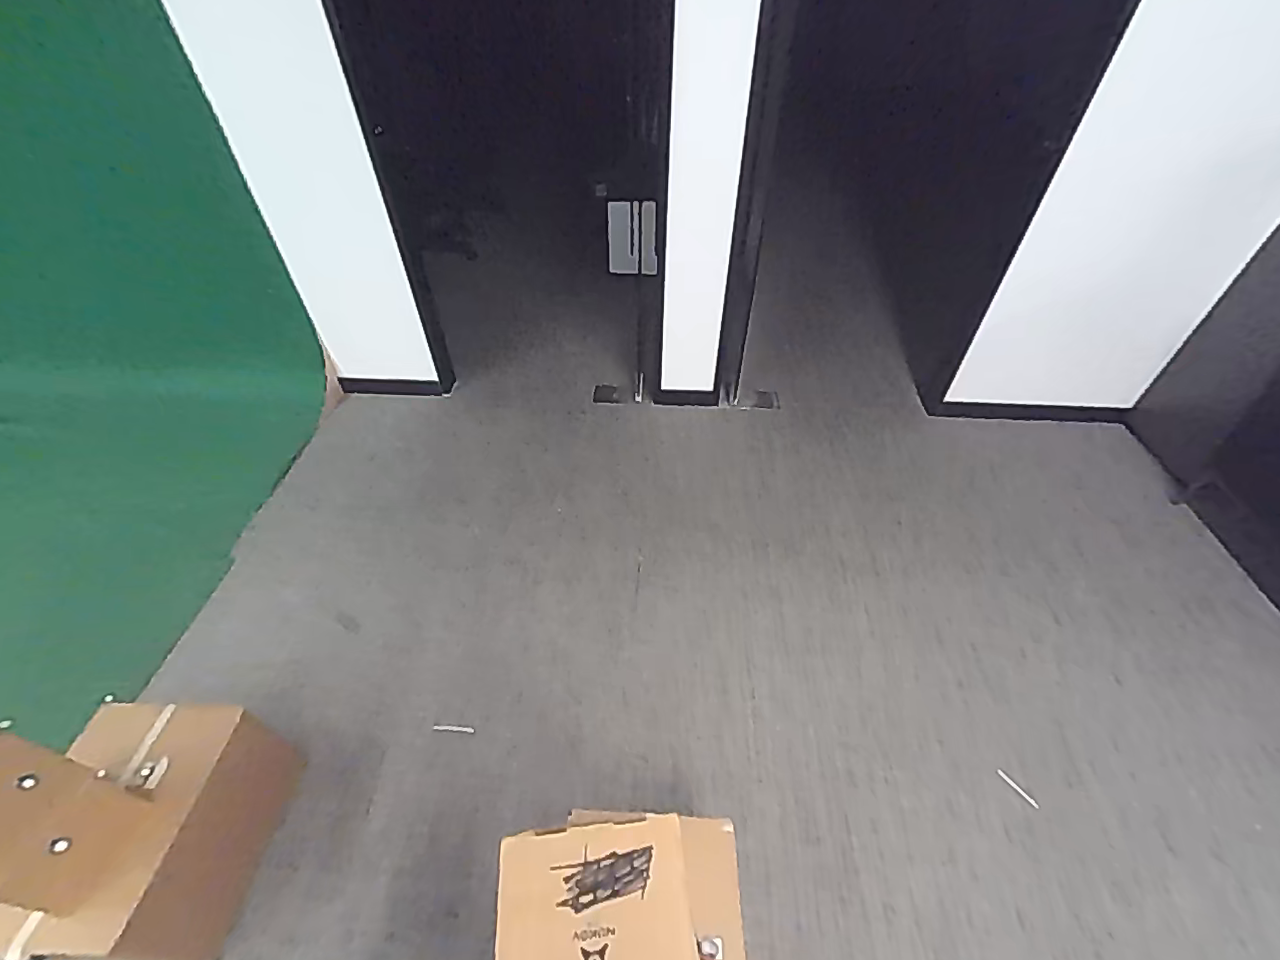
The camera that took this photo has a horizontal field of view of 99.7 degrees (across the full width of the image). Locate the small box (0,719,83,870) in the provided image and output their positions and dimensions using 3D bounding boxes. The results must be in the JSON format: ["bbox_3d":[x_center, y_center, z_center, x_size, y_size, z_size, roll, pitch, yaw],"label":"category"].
[{"bbox_3d":[-1.004,0.462,0.803,0.168,0.176,0.179,11,47,12],"label":"small box"}]

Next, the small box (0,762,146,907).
[{"bbox_3d":[-1.000,0.584,0.912,0.168,0.176,0.179,9,46,9],"label":"small box"}]

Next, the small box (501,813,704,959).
[{"bbox_3d":[-0.028,0.429,0.498,0.168,0.176,0.179,-7,50,-1],"label":"small box"}]

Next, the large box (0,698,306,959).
[{"bbox_3d":[-0.992,0.718,1.121,0.320,0.320,0.408,2,44,1],"label":"large box"}]
